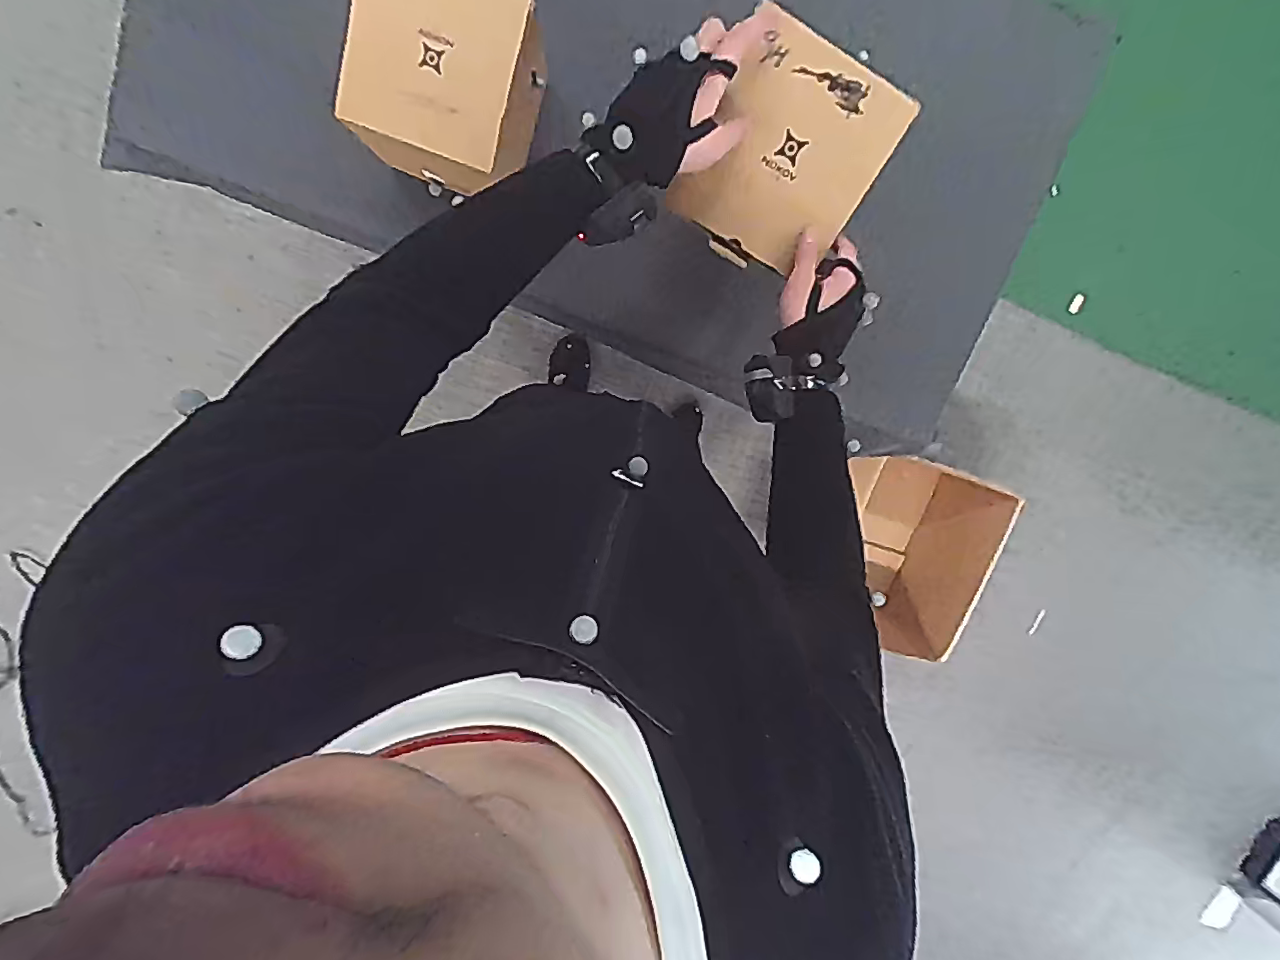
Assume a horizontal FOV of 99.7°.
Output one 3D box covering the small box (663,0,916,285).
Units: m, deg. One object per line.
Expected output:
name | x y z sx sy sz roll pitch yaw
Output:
small box | 0.141 -0.335 0.572 0.168 0.176 0.179 31 113 -10

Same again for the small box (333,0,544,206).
small box | -0.211 -0.445 0.613 0.168 0.176 0.179 17 101 -9
